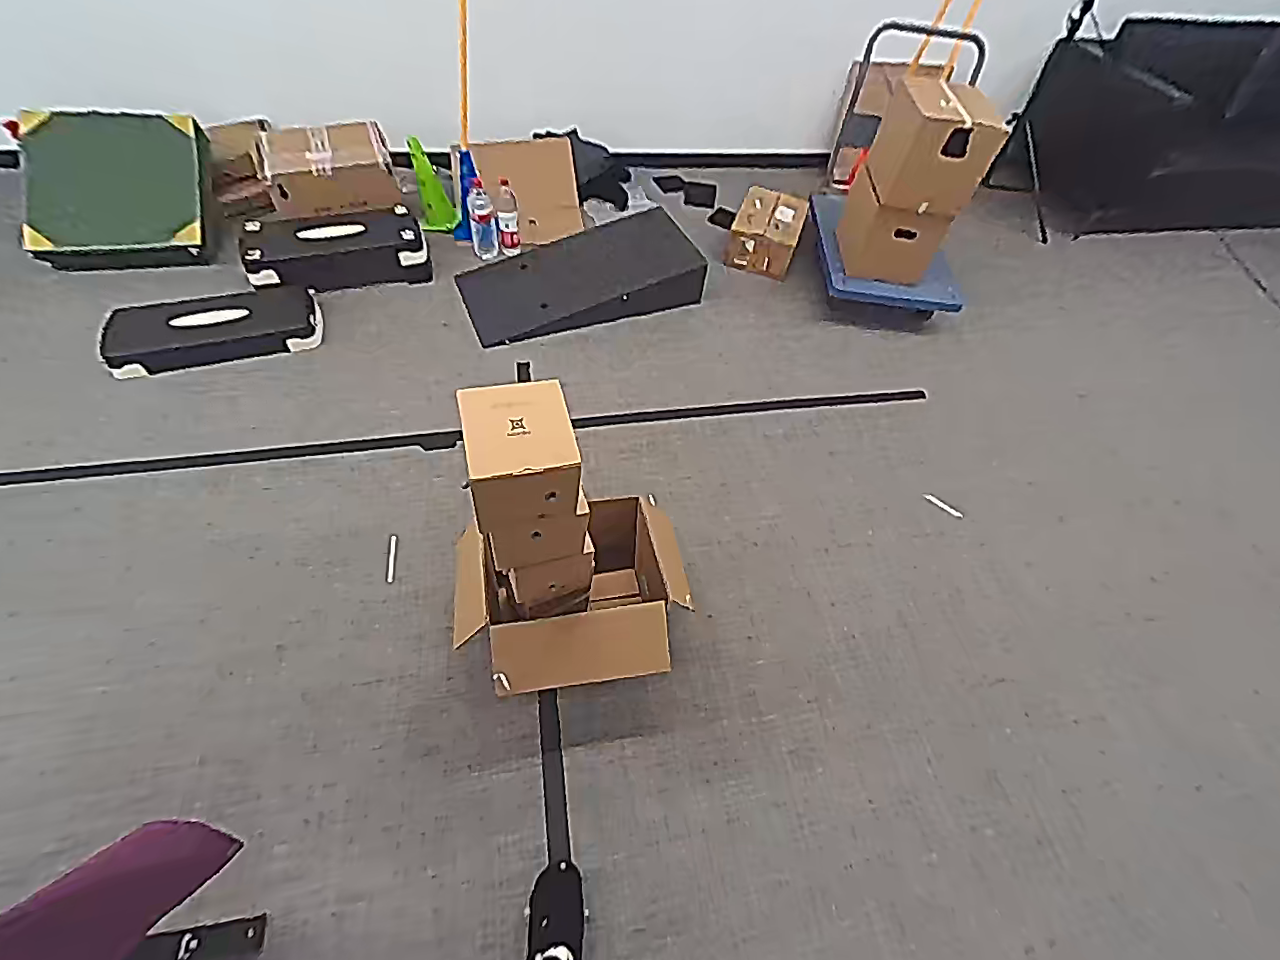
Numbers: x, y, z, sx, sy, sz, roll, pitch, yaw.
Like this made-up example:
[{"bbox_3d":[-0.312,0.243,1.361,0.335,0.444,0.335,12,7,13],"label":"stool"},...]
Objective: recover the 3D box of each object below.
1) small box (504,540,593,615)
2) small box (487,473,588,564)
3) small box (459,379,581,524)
[{"bbox_3d":[-0.231,0.203,1.323,0.179,0.176,0.168,-23,63,-24],"label":"small box"},{"bbox_3d":[-0.205,0.046,1.033,0.179,0.176,0.168,-10,61,-17],"label":"small box"},{"bbox_3d":[-0.198,-0.040,0.894,0.168,0.176,0.179,-9,59,-17],"label":"small box"}]
